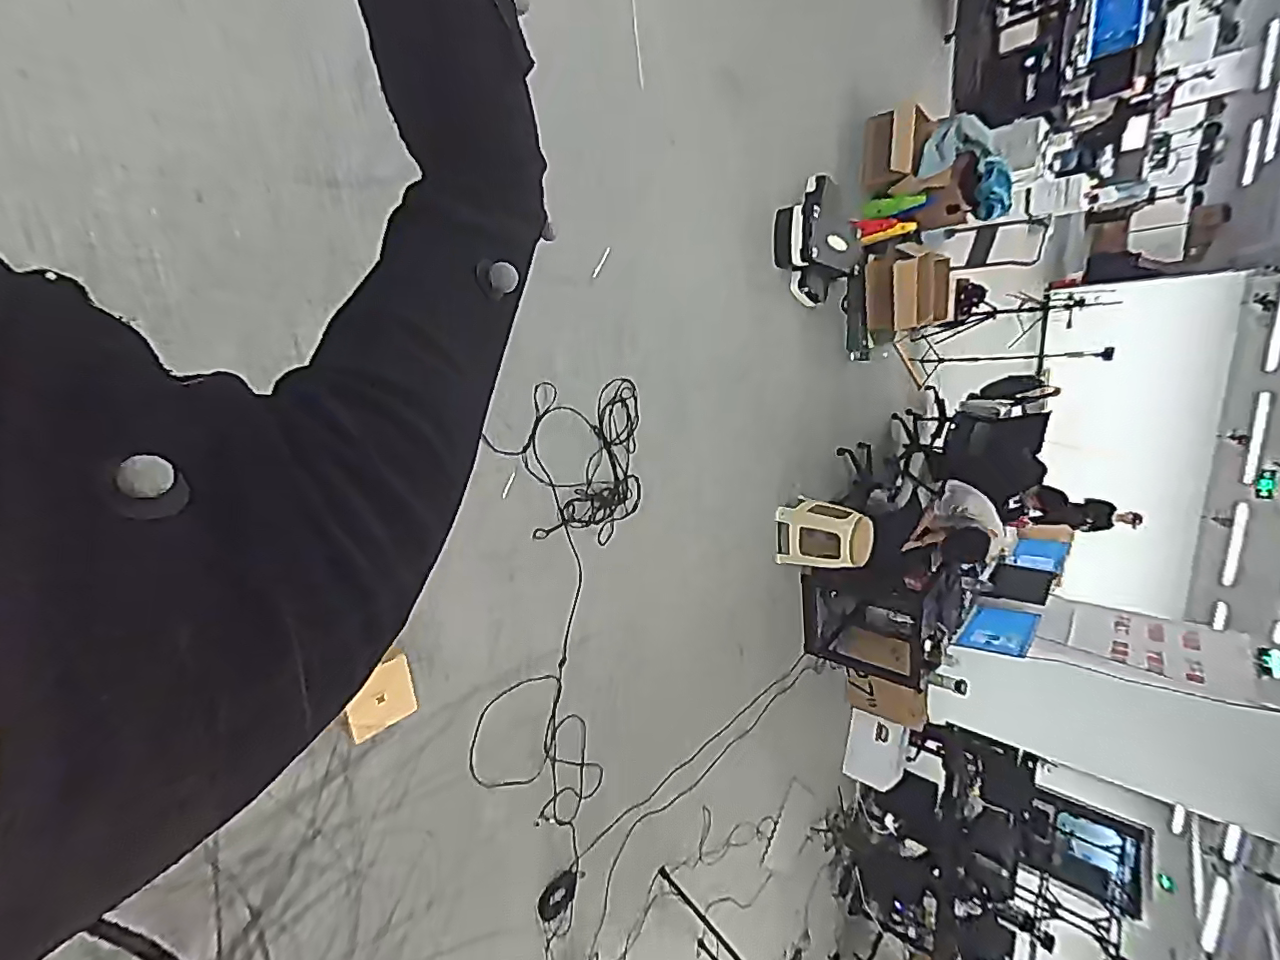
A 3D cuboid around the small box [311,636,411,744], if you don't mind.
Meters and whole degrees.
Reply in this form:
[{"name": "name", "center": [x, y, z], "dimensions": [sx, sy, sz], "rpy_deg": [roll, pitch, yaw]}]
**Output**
[{"name": "small box", "center": [-0.728, 0.538, 1.410], "dimensions": [0.168, 0.176, 0.179], "rpy_deg": [-21, 111, -45]}]
